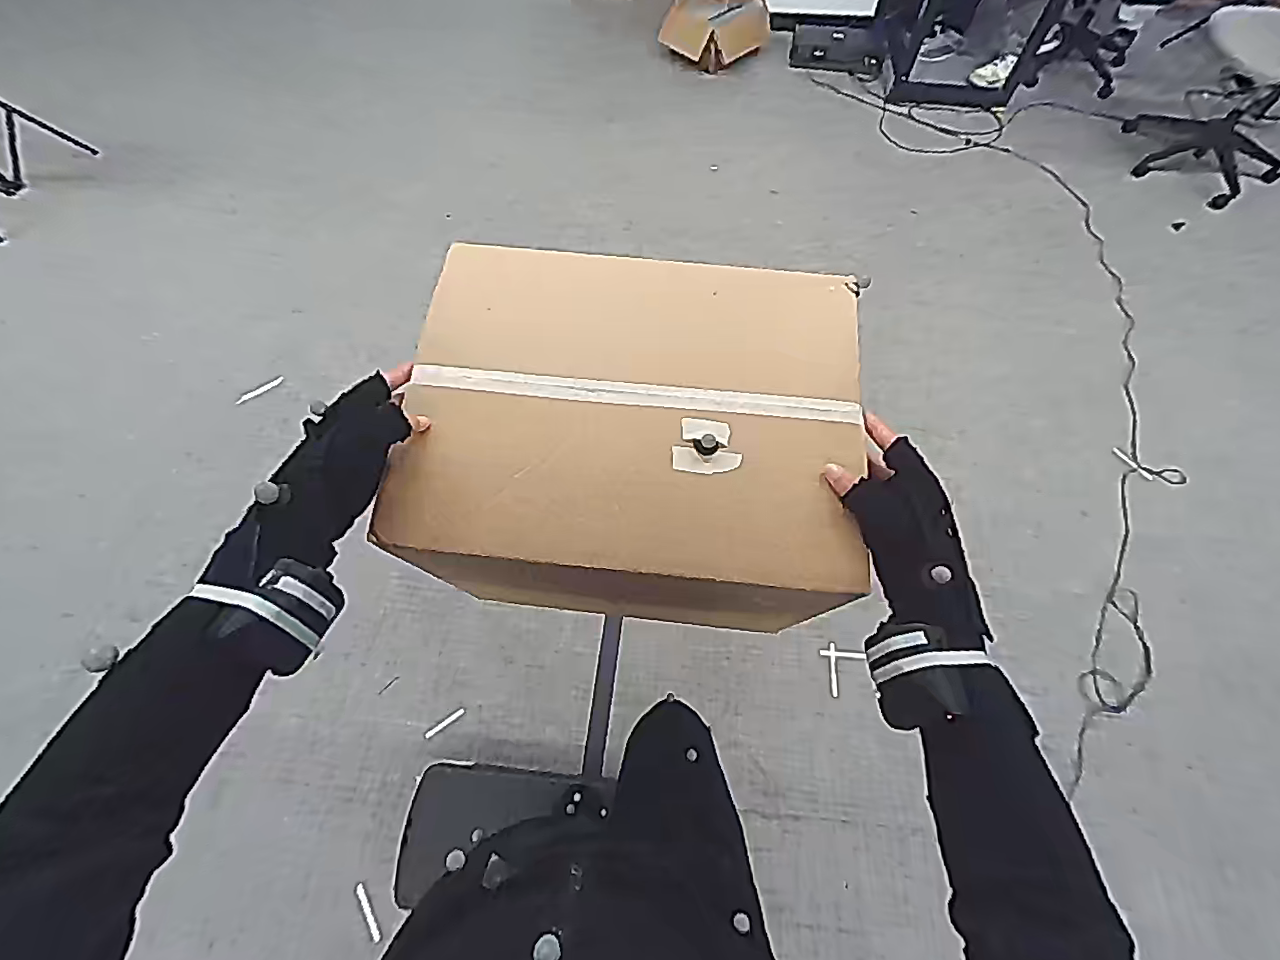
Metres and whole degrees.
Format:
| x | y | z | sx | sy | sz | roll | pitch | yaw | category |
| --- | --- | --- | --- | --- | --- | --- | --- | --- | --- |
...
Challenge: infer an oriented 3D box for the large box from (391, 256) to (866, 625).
| x | y | z | sx | sy | sz | roll | pitch | yaw | category |
| --- | --- | --- | --- | --- | --- | --- | --- | --- | --- |
| -0.002 | -0.019 | 0.637 | 0.408 | 0.320 | 0.320 | 6 | 70 | 1 | large box |
